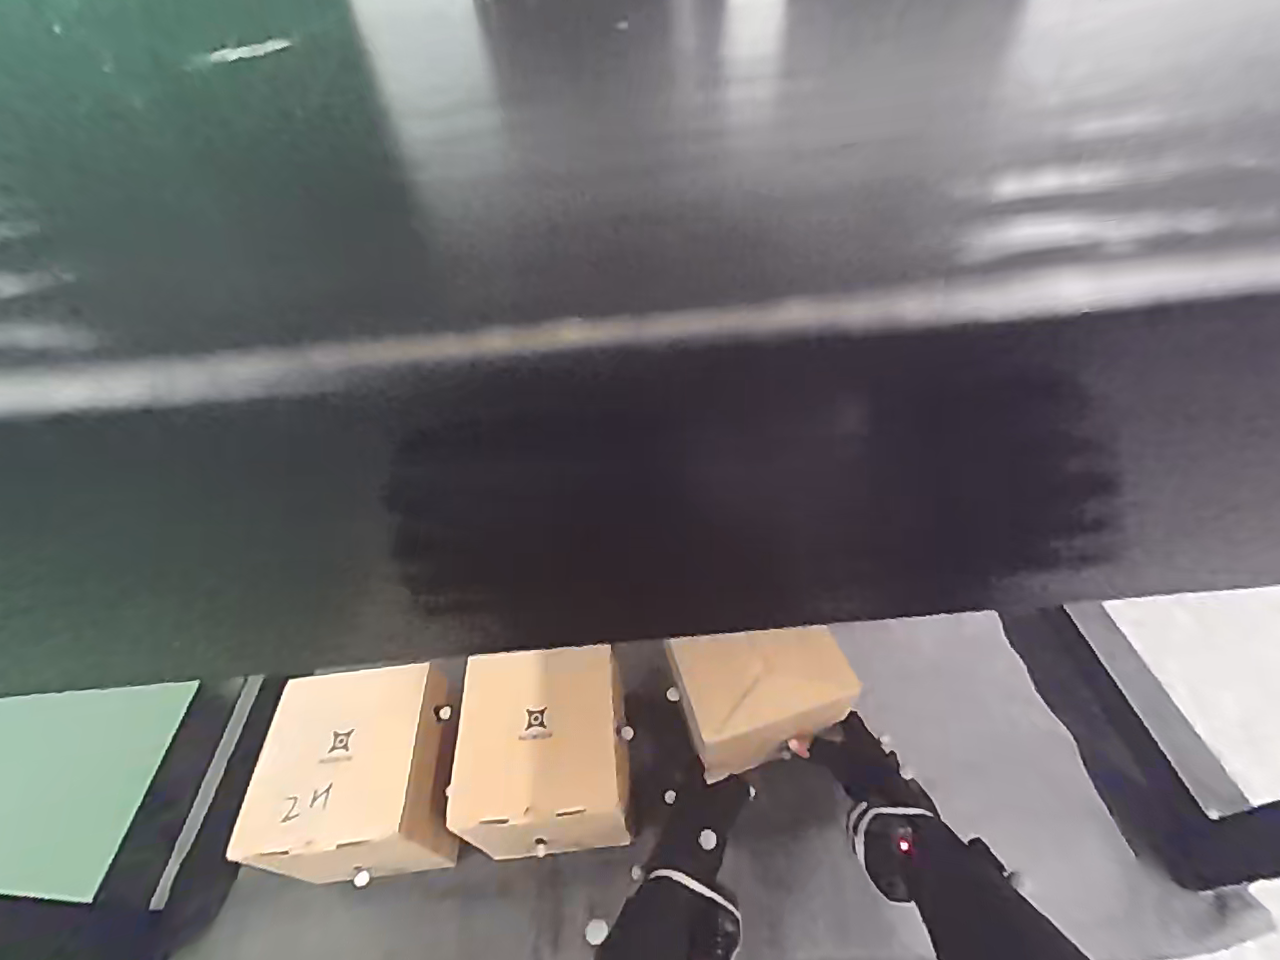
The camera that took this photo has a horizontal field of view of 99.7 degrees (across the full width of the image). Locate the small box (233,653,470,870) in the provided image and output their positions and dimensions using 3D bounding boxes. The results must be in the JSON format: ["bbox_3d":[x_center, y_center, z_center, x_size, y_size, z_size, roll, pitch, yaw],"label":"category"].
[{"bbox_3d":[-0.308,0.326,0.627,0.168,0.176,0.179,-7,47,0],"label":"small box"}]
